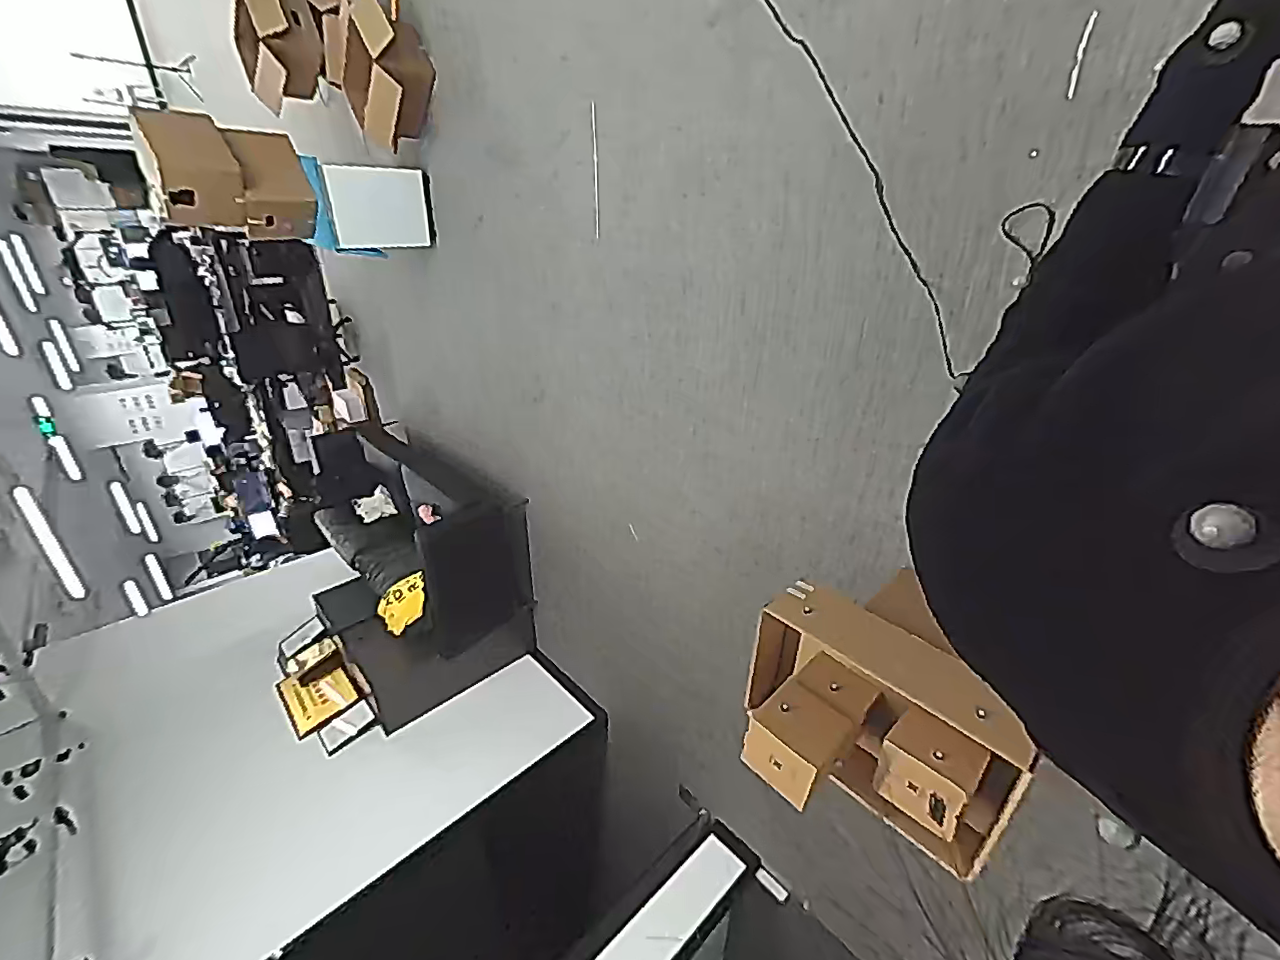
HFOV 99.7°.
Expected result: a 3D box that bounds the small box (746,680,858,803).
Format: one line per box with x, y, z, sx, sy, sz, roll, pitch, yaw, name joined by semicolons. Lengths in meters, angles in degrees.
0.385;0.610;1.293;0.179;0.176;0.168;30;130;37;small box
